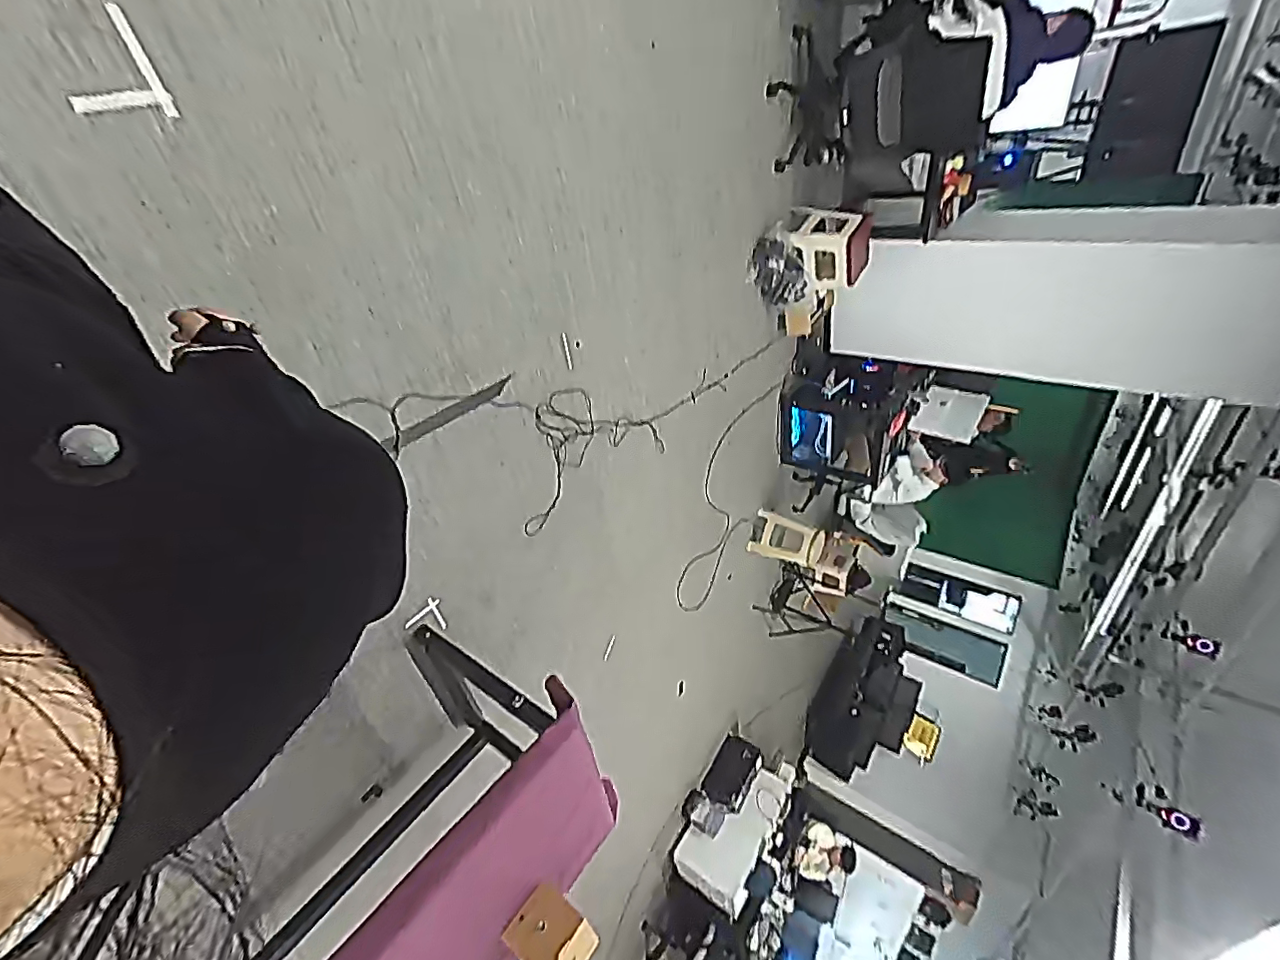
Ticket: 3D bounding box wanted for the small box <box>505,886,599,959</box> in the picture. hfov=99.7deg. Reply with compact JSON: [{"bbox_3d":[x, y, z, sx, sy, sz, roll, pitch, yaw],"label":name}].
[{"bbox_3d":[-0.241,1.259,1.473,0.168,0.176,0.179,-41,133,-37],"label":"small box"}]
